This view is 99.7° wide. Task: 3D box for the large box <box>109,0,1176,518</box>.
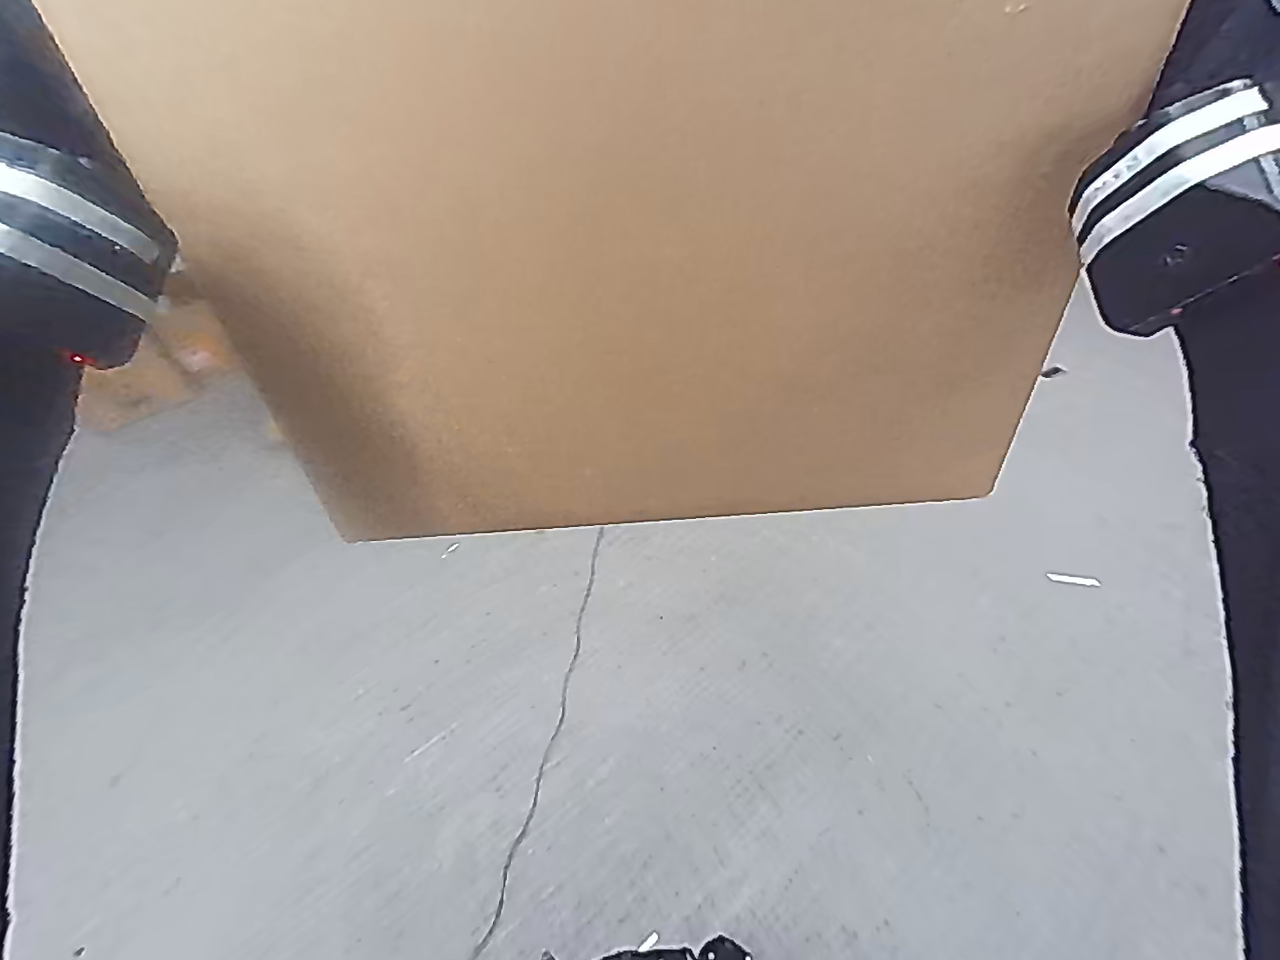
[{"bbox_3d":[0.005,-0.193,0.368,0.408,0.320,0.320,-3,38,2],"label":"large box"}]
